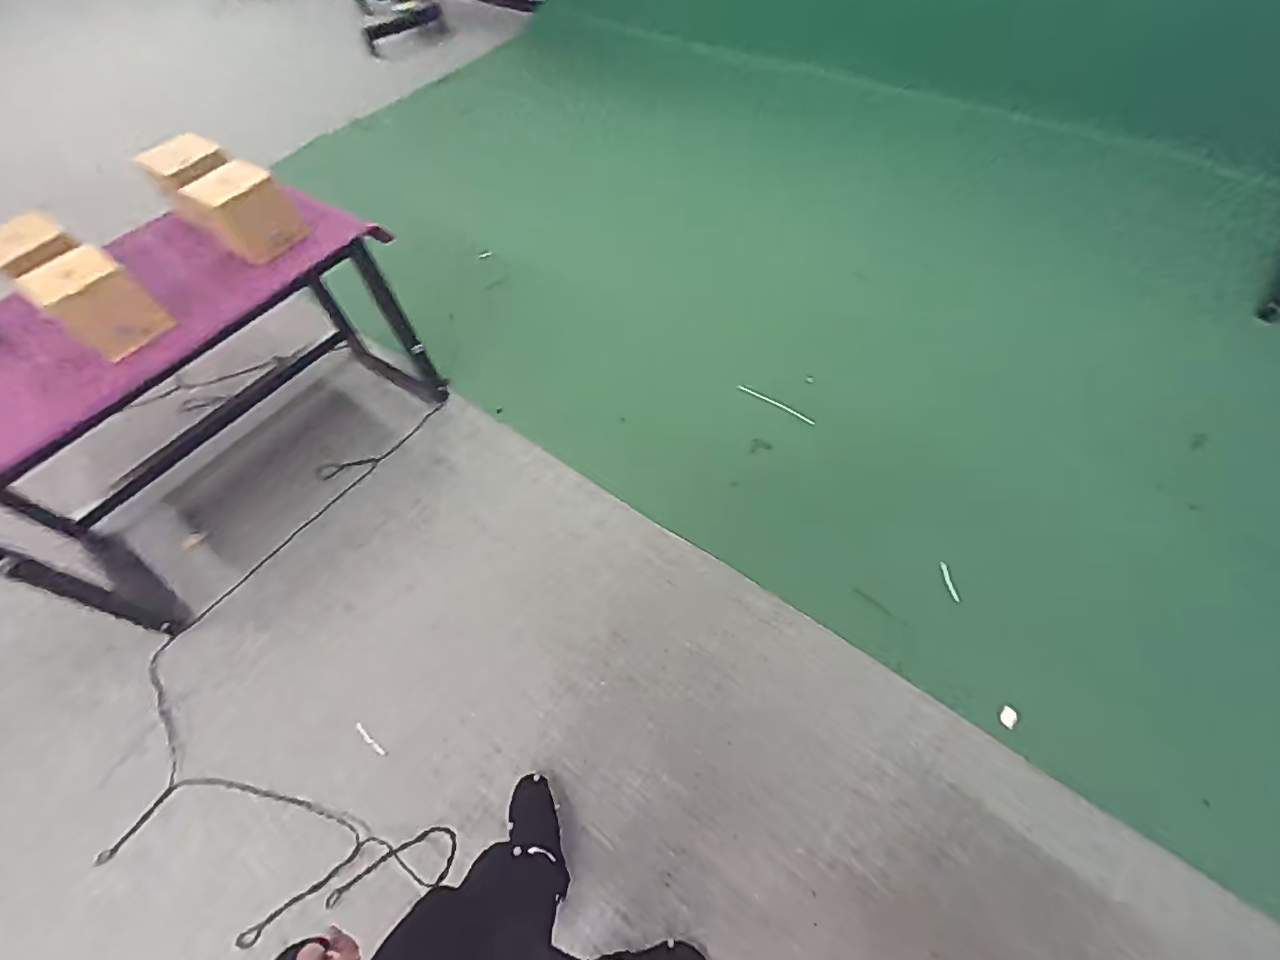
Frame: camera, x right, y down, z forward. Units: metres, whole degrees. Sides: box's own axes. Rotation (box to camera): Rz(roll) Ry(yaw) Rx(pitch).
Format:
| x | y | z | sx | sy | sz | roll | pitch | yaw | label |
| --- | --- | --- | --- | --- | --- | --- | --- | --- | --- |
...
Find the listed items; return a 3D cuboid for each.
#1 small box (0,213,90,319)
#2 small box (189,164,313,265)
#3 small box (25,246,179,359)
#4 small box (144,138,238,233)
| x | y | z | sx | sy | sz | roll | pitch | yaw | label |
| --- | --- | --- | --- | --- | --- | --- | --- | --- | --- |
| -1.490 | -0.539 | 1.376 | 0.179 | 0.176 | 0.168 | 28 | 64 | 19 | small box |
| -1.031 | -0.706 | 1.446 | 0.179 | 0.176 | 0.168 | 29 | 65 | 22 | small box |
| -1.260 | -0.415 | 1.278 | 0.179 | 0.176 | 0.168 | 32 | 64 | 23 | small box |
| -1.243 | -0.843 | 1.553 | 0.179 | 0.176 | 0.168 | 29 | 64 | 21 | small box |
